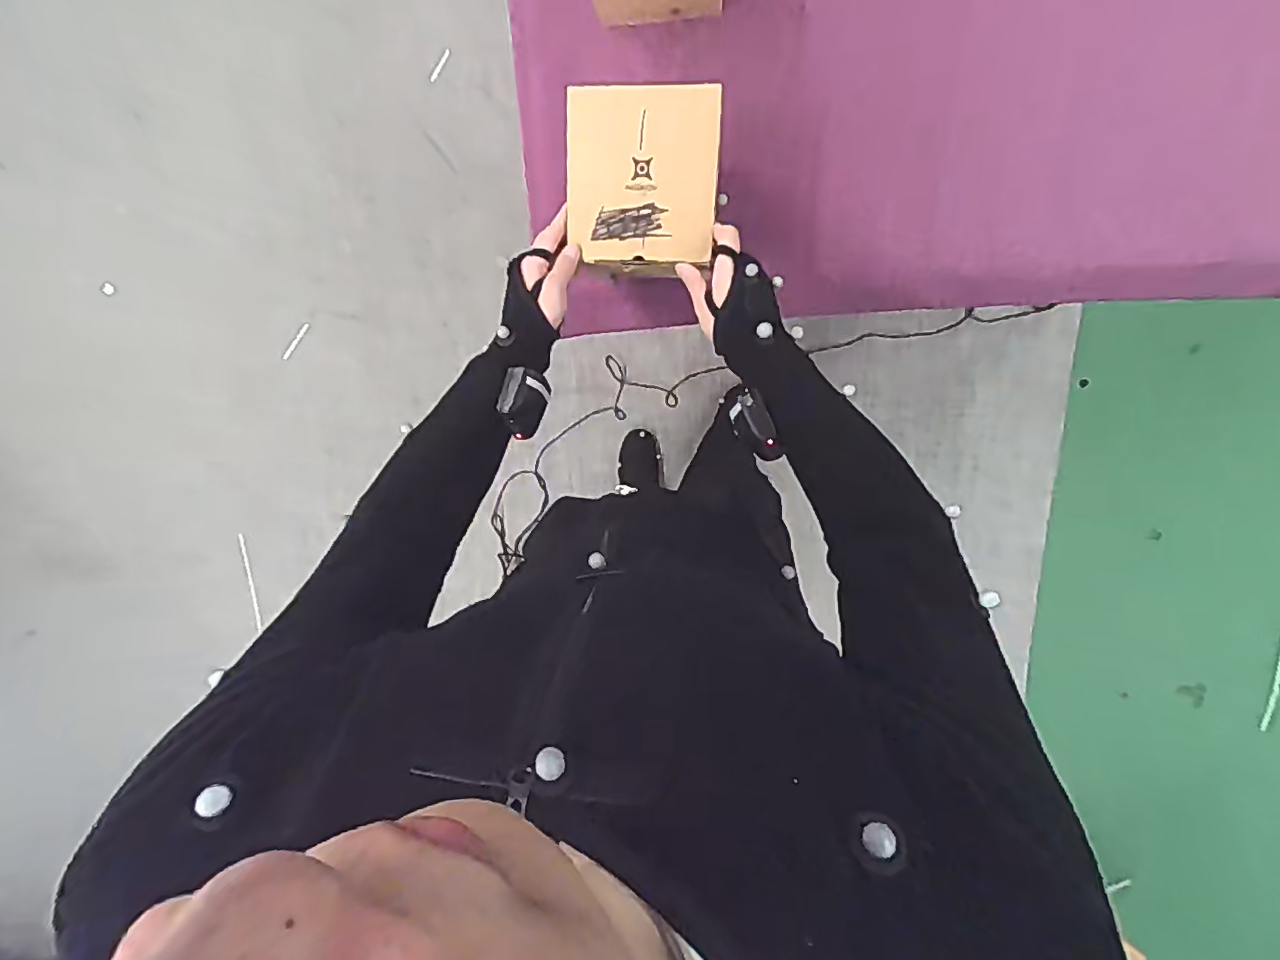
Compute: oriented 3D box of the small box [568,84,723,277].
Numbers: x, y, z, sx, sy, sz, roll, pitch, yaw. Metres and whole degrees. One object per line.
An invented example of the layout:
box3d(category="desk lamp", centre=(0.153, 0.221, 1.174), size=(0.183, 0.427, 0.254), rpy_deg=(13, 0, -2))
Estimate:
box3d(category="small box", centre=(0.012, -0.349, 0.662), size=(0.168, 0.176, 0.179), rpy_deg=(3, 105, 6))
